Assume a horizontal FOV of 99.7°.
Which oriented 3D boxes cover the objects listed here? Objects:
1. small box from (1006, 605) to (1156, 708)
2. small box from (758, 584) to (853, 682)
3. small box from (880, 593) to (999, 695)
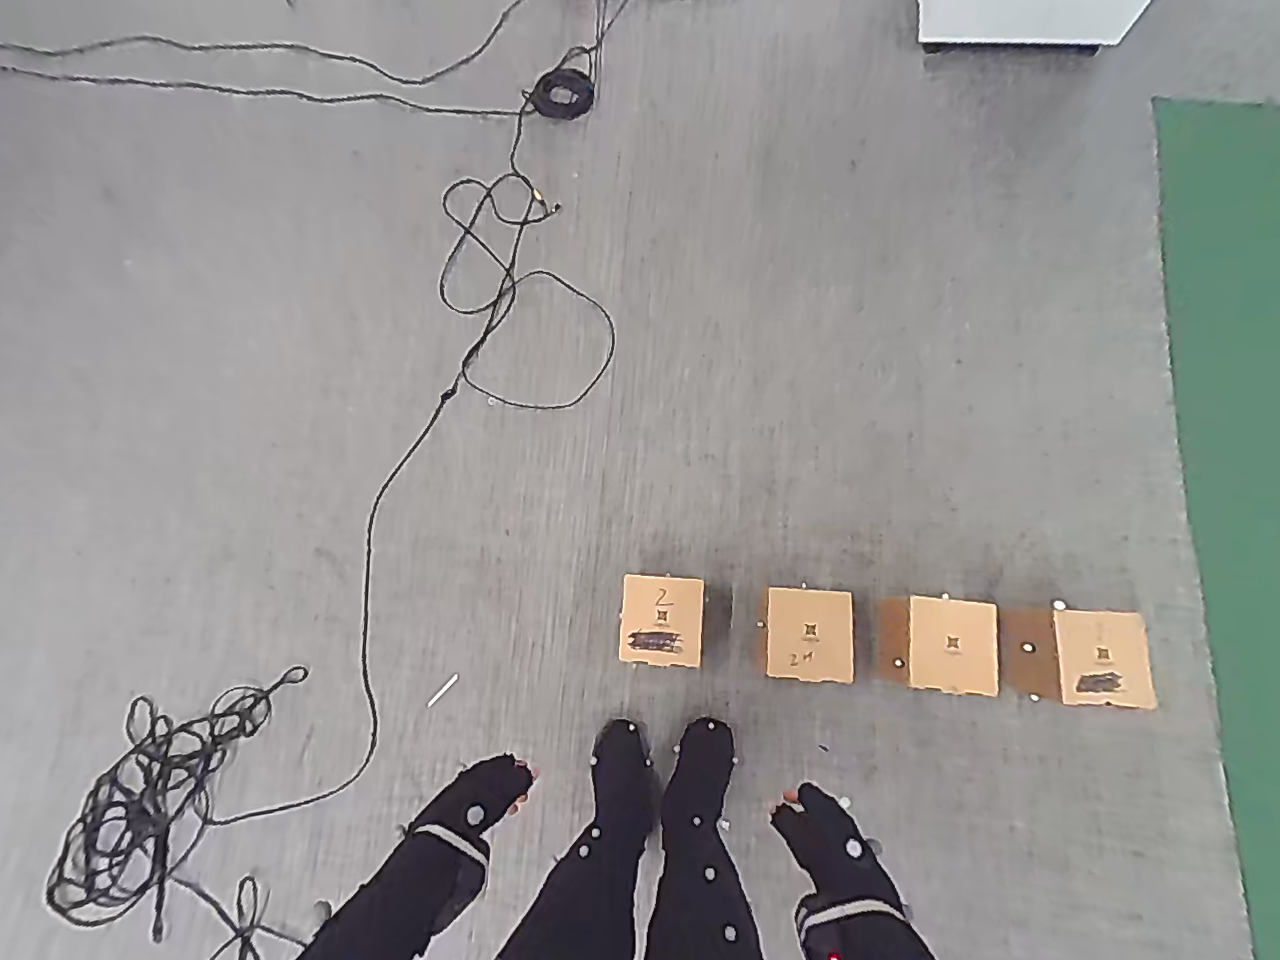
[{"bbox_3d":[0.876,0.347,1.092,0.168,0.176,0.179,2,77,5],"label":"small box"},{"bbox_3d":[0.341,0.315,1.139,0.168,0.176,0.179,3,78,6],"label":"small box"},{"bbox_3d":[0.609,0.331,1.118,0.168,0.176,0.179,5,78,5],"label":"small box"}]
